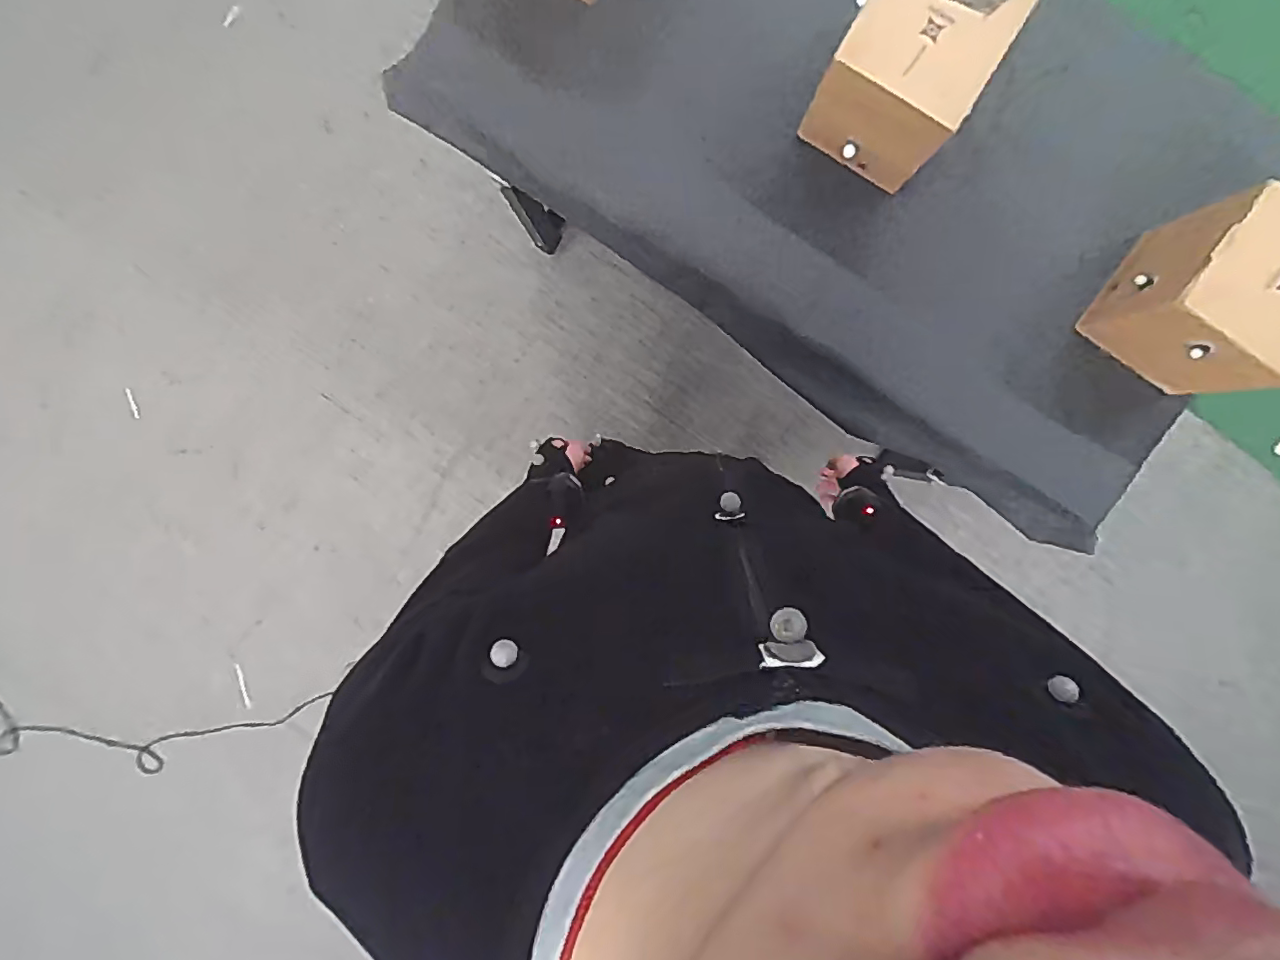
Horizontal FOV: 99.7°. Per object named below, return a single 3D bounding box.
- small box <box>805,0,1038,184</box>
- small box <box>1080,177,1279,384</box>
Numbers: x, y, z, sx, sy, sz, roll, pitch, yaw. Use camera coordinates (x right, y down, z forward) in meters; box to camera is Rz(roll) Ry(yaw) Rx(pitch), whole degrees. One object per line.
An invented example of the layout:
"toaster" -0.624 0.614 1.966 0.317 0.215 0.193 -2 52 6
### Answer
"small box" 0.333 -0.520 0.676 0.168 0.176 0.179 32 97 -1
"small box" 0.735 -0.235 0.693 0.179 0.176 0.168 34 97 -3
